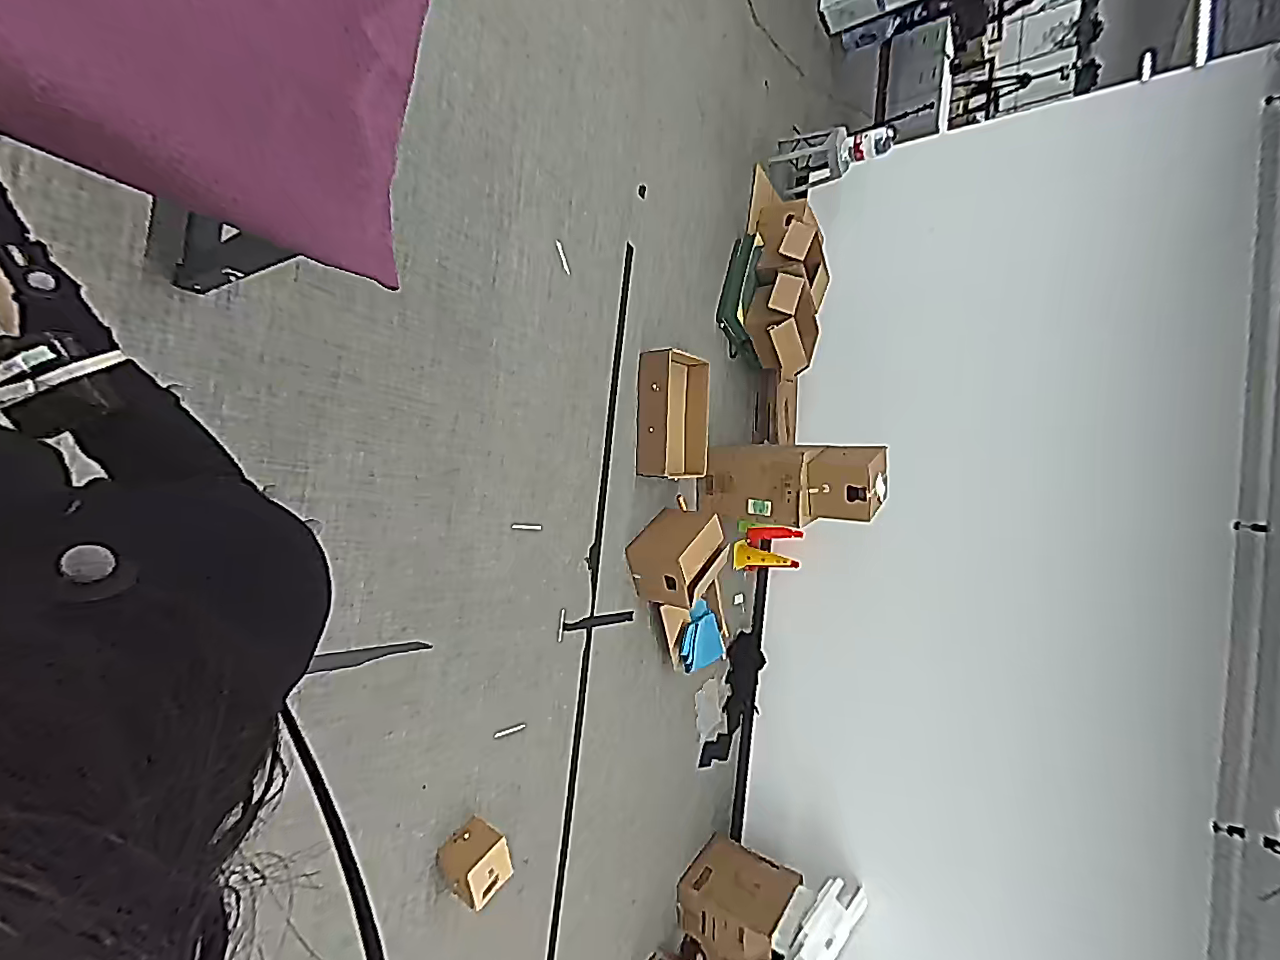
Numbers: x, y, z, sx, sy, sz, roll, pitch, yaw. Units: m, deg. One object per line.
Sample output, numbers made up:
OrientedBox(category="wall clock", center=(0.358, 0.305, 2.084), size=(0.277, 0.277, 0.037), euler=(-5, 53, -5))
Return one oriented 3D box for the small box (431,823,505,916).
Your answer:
OrientedBox(category="small box", center=(-0.602, 1.354, 1.893), size=(0.168, 0.176, 0.179), euler=(-27, 115, -51))
